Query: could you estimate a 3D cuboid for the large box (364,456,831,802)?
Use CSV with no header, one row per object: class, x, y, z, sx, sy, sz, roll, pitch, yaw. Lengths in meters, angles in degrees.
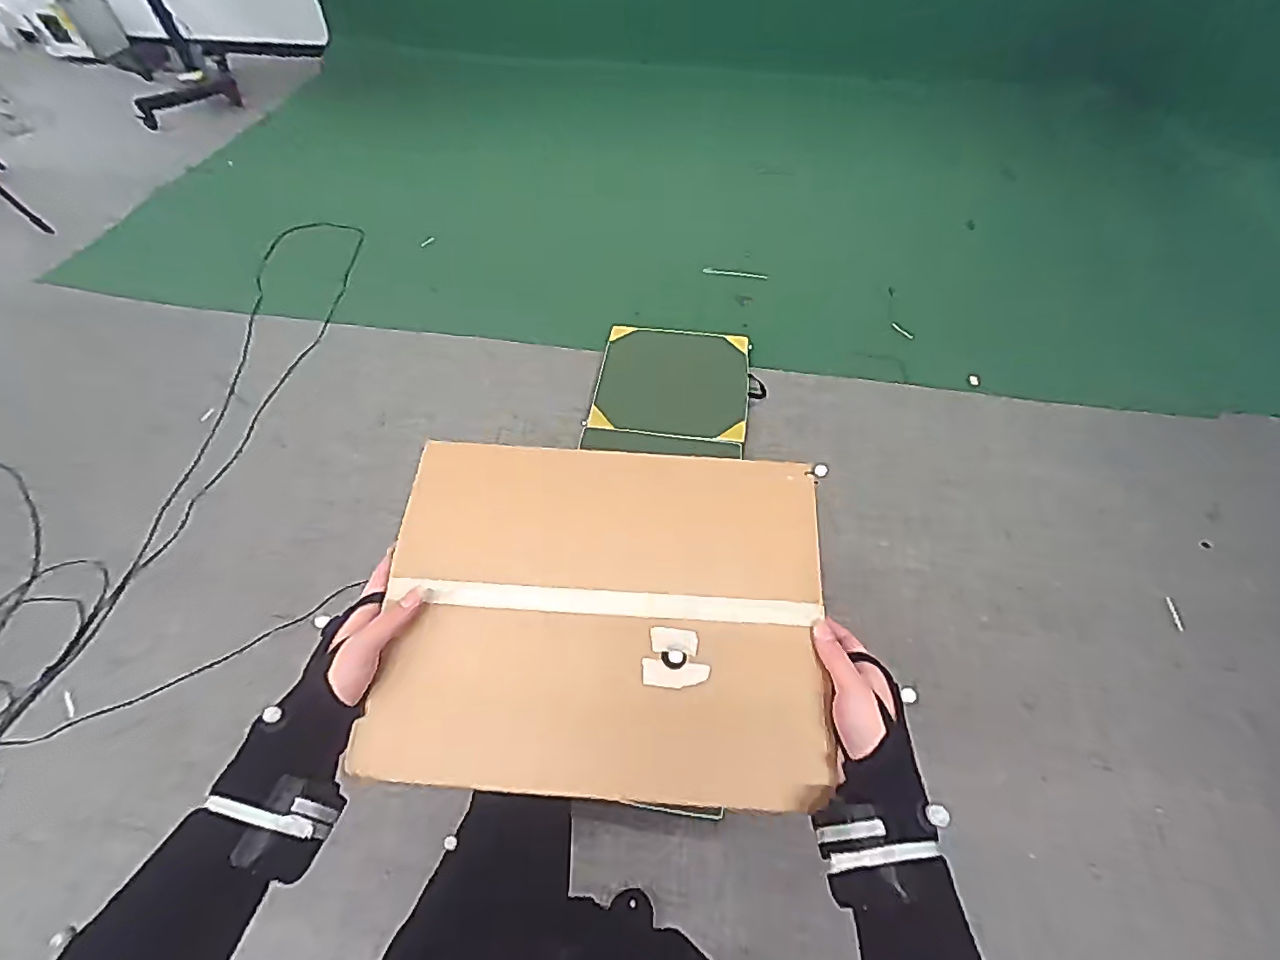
large box,-0.034,0.185,0.650,0.408,0.320,0.320,4,66,0
